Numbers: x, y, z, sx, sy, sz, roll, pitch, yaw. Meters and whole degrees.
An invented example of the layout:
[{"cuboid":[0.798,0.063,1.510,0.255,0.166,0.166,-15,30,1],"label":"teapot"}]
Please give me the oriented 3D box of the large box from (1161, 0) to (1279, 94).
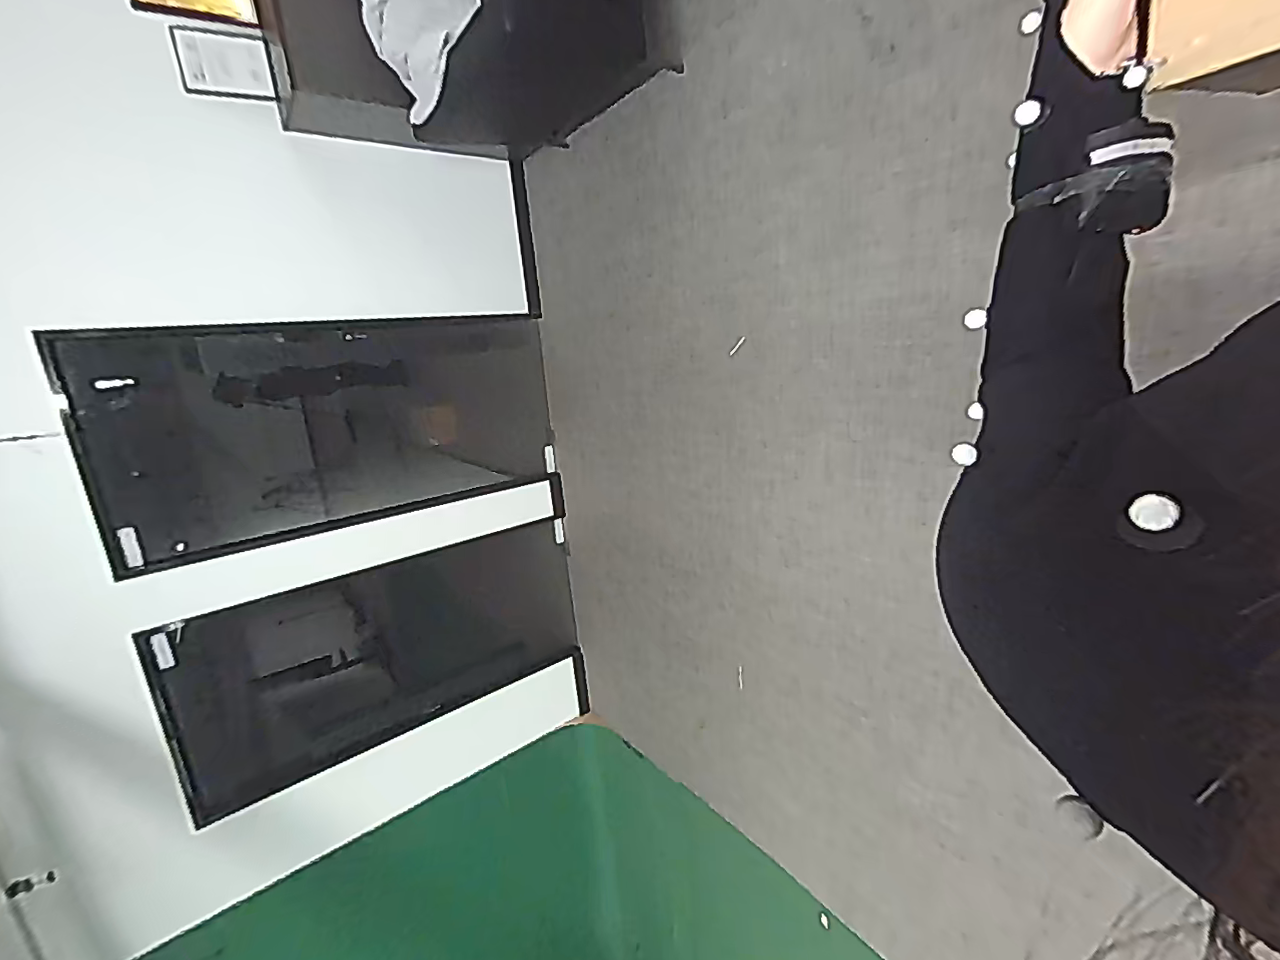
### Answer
[{"cuboid":[0.558,-0.443,0.241,0.408,0.320,0.320,13,120,57],"label":"large box"}]
